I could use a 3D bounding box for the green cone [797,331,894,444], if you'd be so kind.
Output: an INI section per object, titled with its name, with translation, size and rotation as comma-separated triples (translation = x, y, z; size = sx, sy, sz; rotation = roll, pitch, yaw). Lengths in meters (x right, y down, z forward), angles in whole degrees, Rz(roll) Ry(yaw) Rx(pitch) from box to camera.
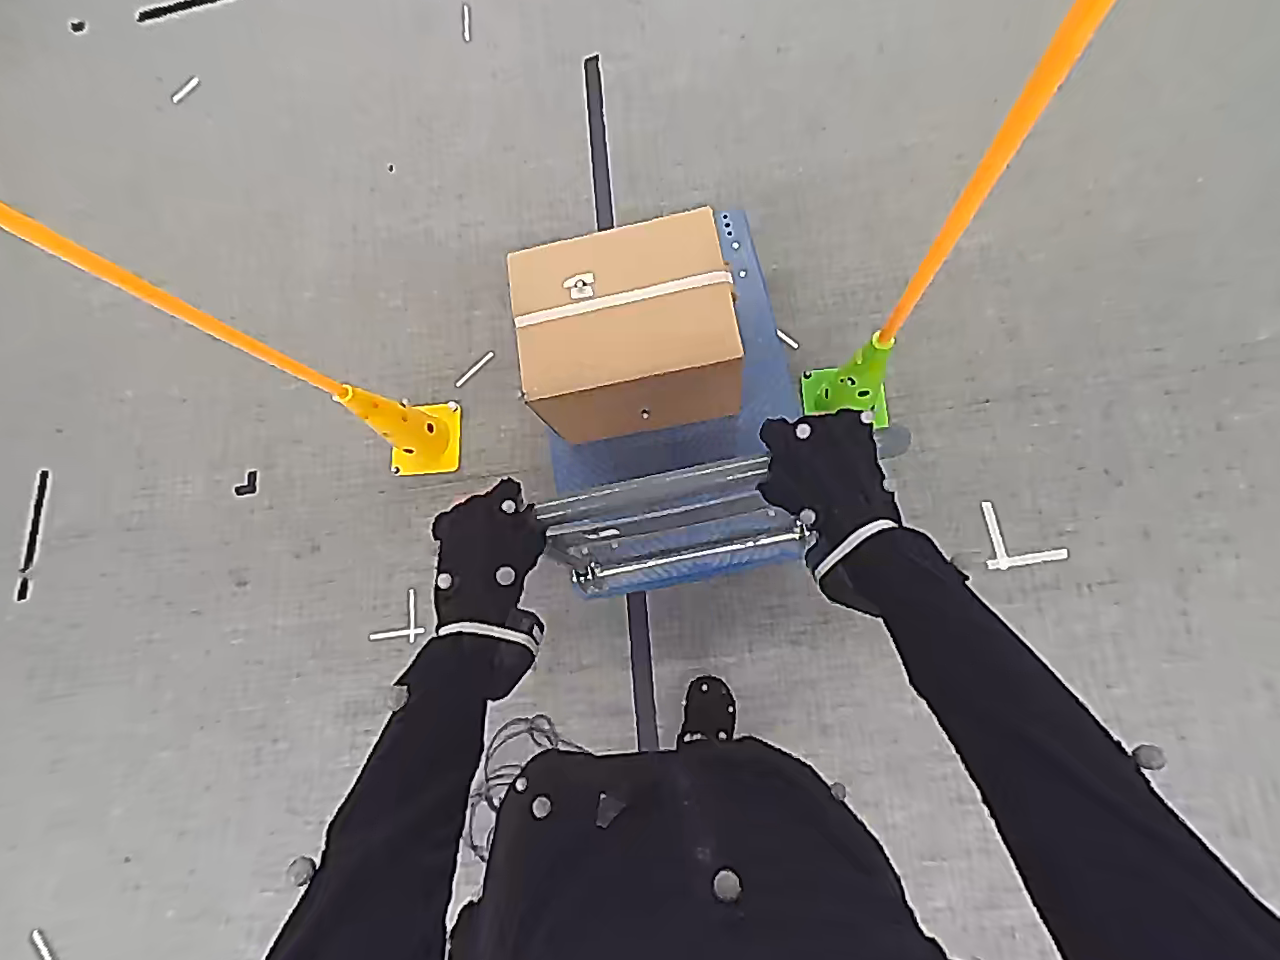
[green cone]
translation = 0.489, -0.228, 1.216
size = 0.202, 0.368, 0.200
rotation = -4, 77, 7

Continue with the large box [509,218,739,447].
[large box]
translation = -0.018, -0.285, 1.159
size = 0.408, 0.320, 0.320
rotation = -11, 77, 7
